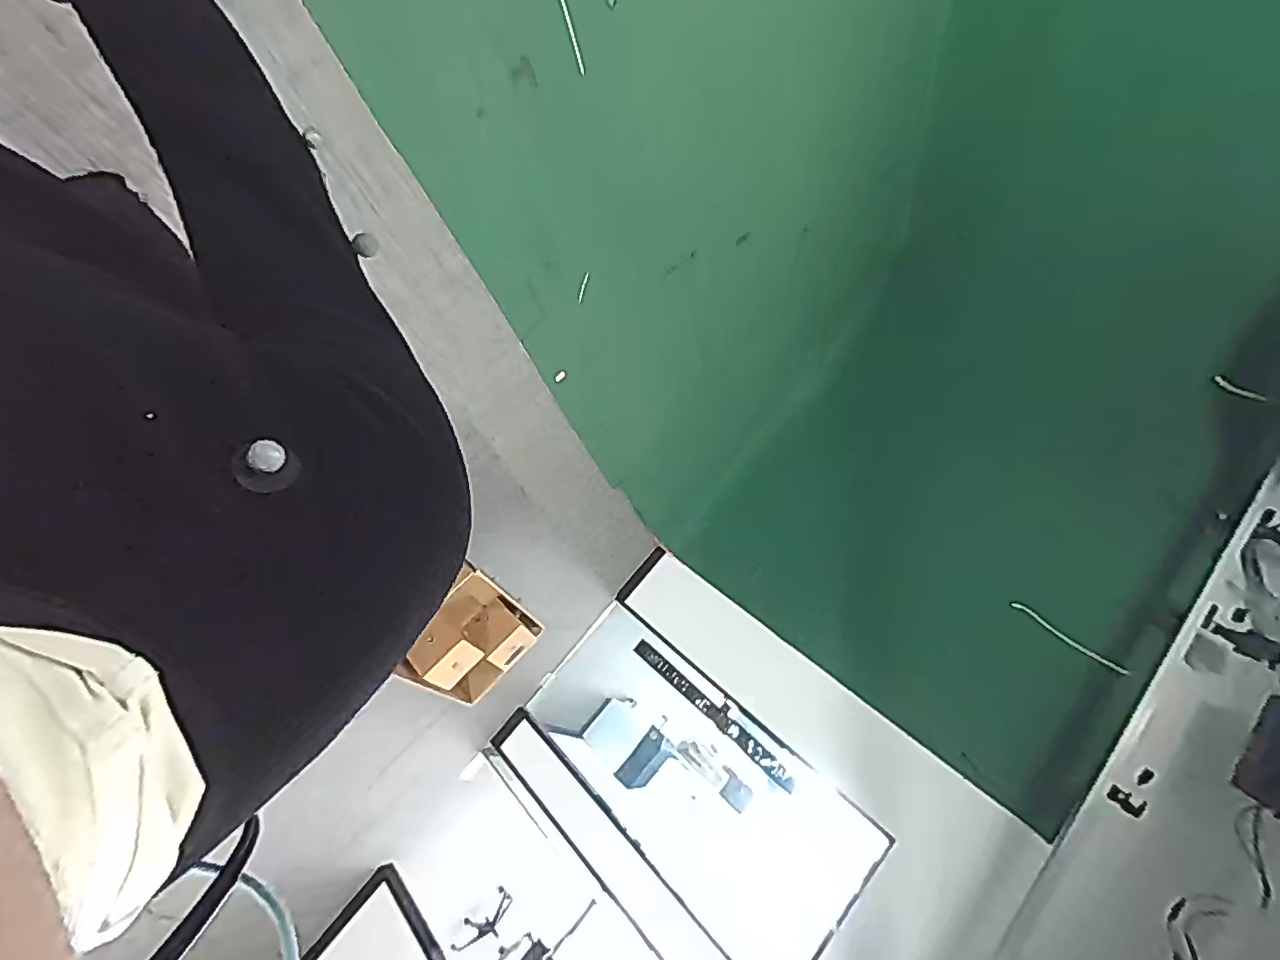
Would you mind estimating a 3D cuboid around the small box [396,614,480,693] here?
[{"bbox_3d":[-0.681,0.577,1.817,0.168,0.176,0.179,-44,148,-17],"label":"small box"}]
